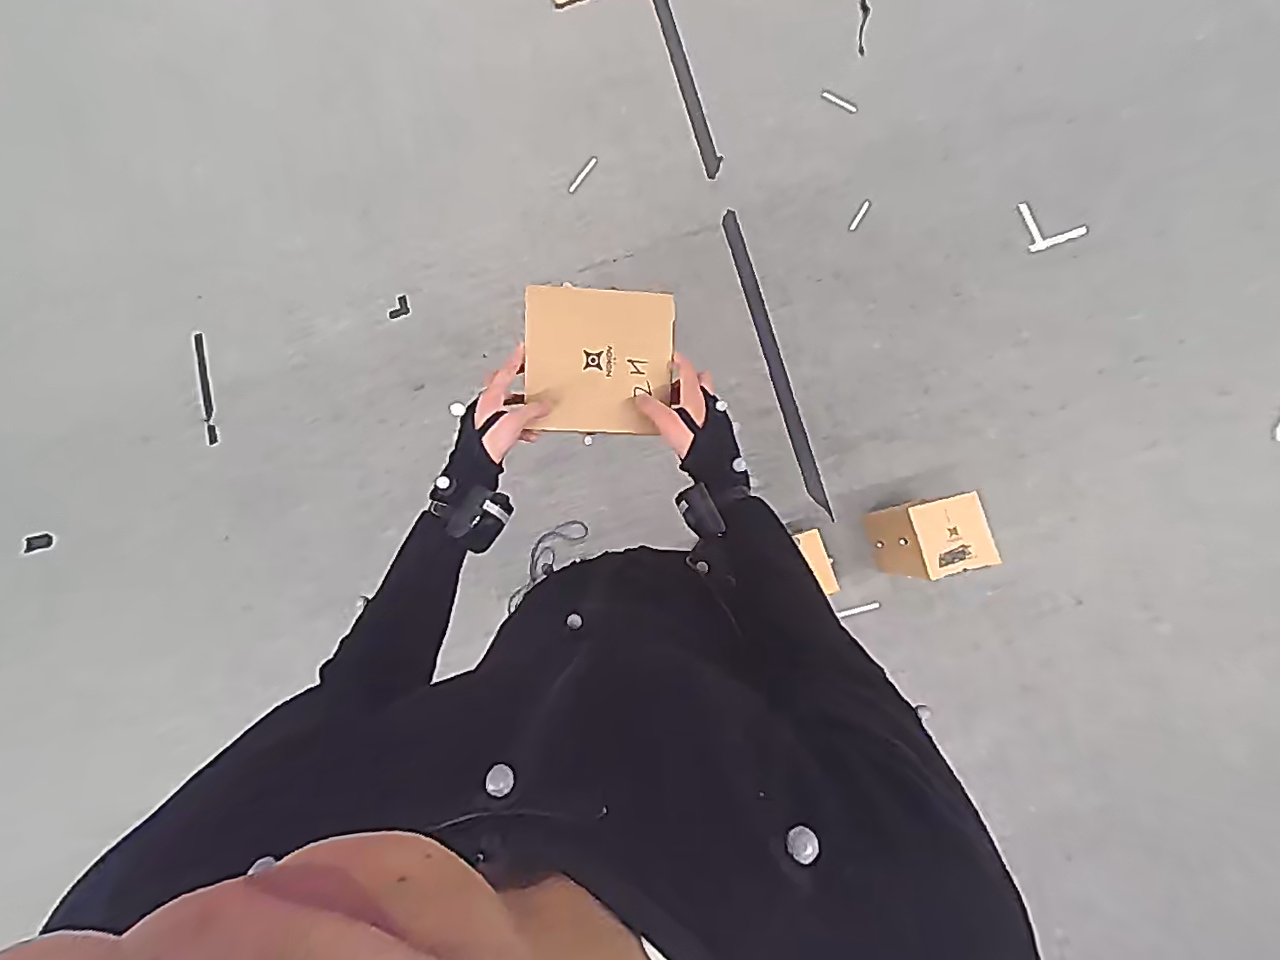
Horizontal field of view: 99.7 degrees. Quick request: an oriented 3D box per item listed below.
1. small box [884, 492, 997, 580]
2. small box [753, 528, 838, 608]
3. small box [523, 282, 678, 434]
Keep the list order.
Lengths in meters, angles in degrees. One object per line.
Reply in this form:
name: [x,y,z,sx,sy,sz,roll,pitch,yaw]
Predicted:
small box: [0.732,0.137,1.336,0.168,0.176,0.179,-15,82,3]
small box: [0.428,0.244,1.520,0.168,0.176,0.179,-19,83,3]
small box: [-0.054,-0.147,0.707,0.179,0.176,0.168,2,95,-7]
